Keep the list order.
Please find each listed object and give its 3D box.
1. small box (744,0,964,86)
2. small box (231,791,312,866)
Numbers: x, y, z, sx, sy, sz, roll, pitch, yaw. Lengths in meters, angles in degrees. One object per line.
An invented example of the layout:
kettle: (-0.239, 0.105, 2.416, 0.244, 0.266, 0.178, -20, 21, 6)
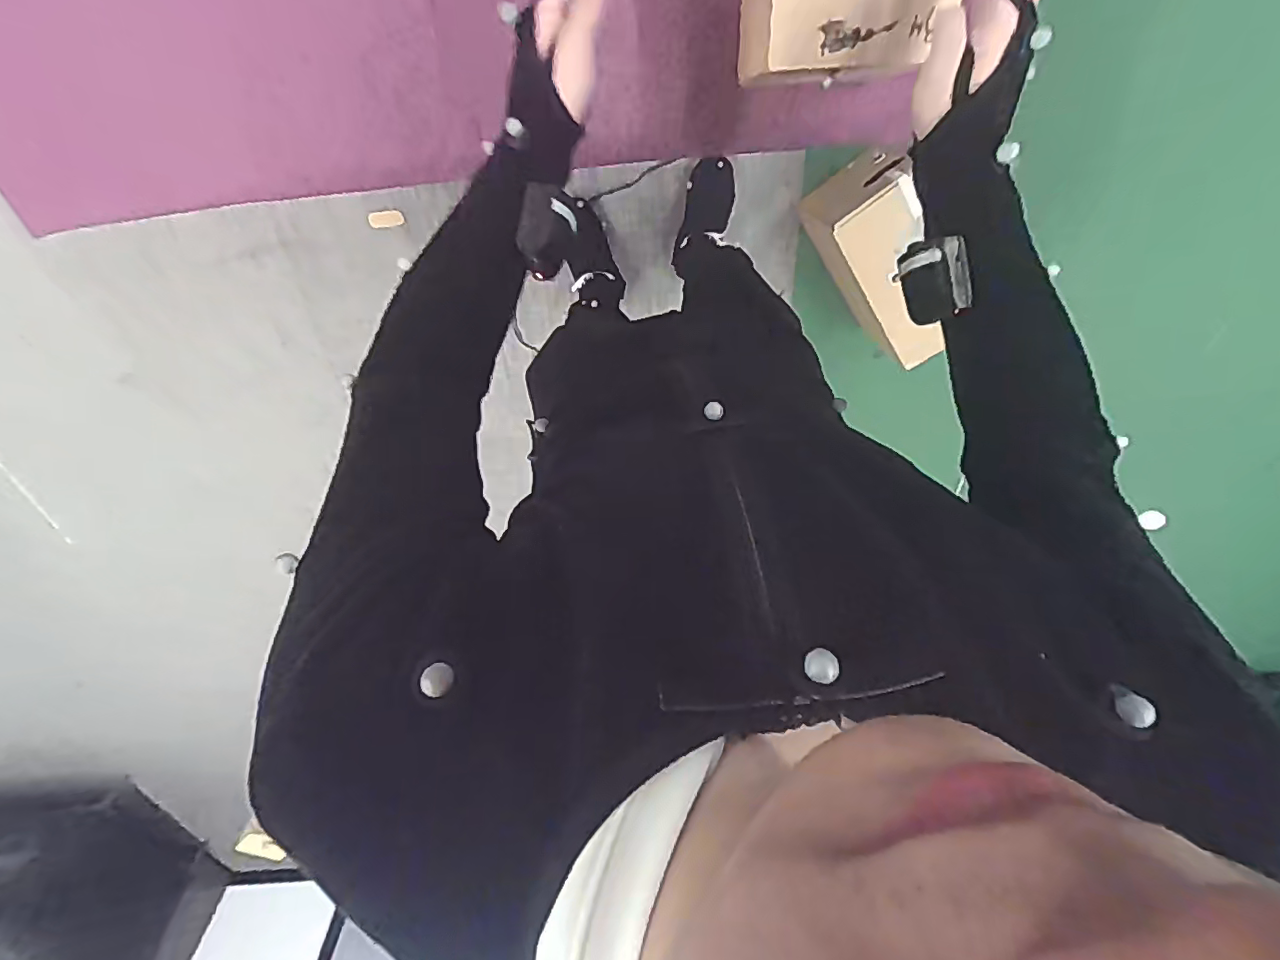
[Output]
small box: (0.196, -0.492, 0.511, 0.168, 0.176, 0.179, -2, 122, 2)
small box: (-1.345, 1.278, 1.988, 0.168, 0.176, 0.179, 35, 117, -22)
